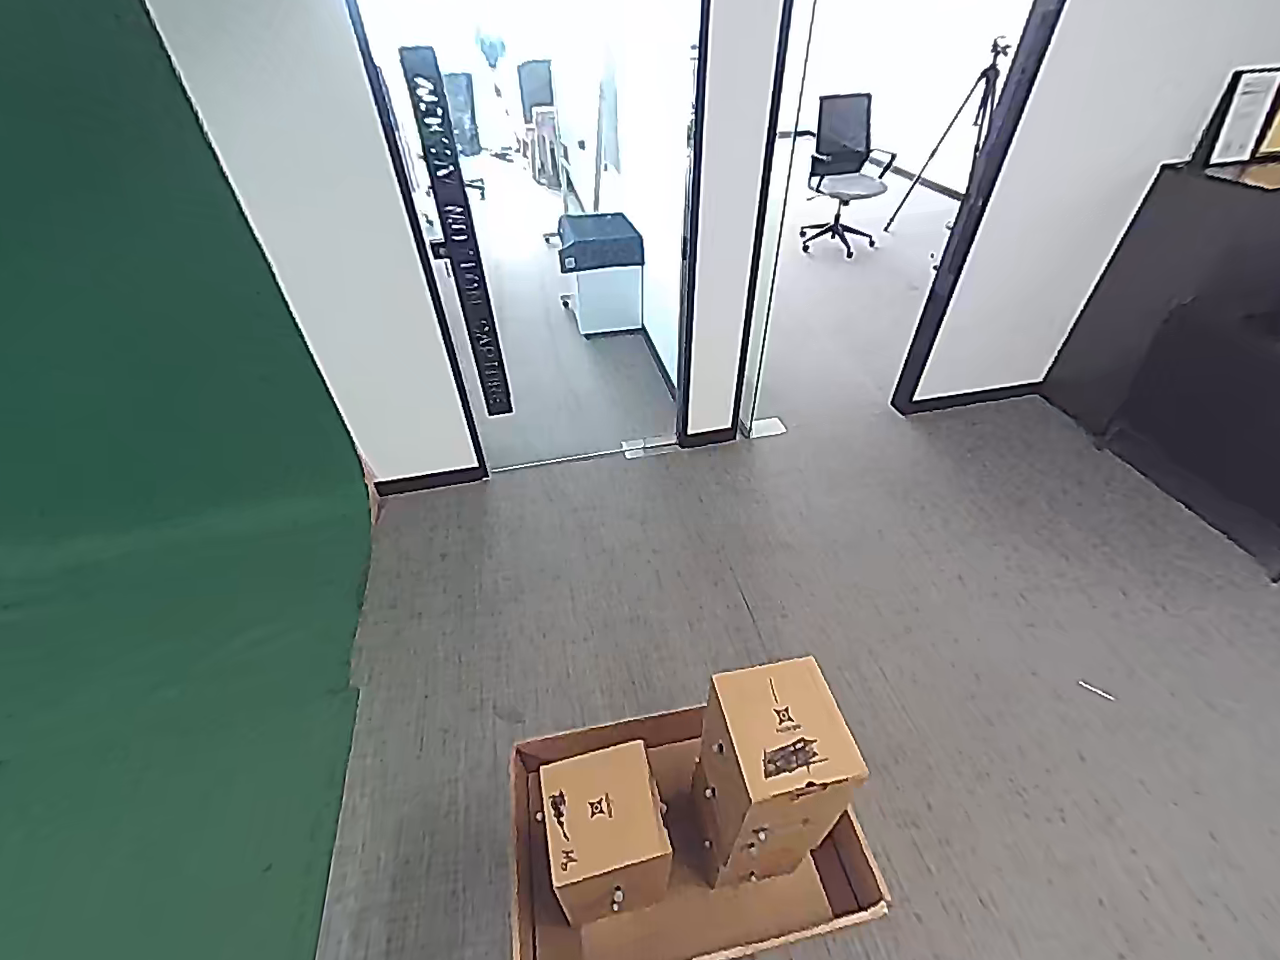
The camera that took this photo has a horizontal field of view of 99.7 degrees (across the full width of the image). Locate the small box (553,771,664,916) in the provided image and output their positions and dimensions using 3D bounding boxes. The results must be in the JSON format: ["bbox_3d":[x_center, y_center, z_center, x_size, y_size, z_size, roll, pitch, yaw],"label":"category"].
[{"bbox_3d":[-0.059,0.666,0.990,0.179,0.176,0.168,-7,43,-10],"label":"small box"}]

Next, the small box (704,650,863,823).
[{"bbox_3d":[0.199,0.386,0.807,0.168,0.176,0.179,-7,42,-8],"label":"small box"}]
